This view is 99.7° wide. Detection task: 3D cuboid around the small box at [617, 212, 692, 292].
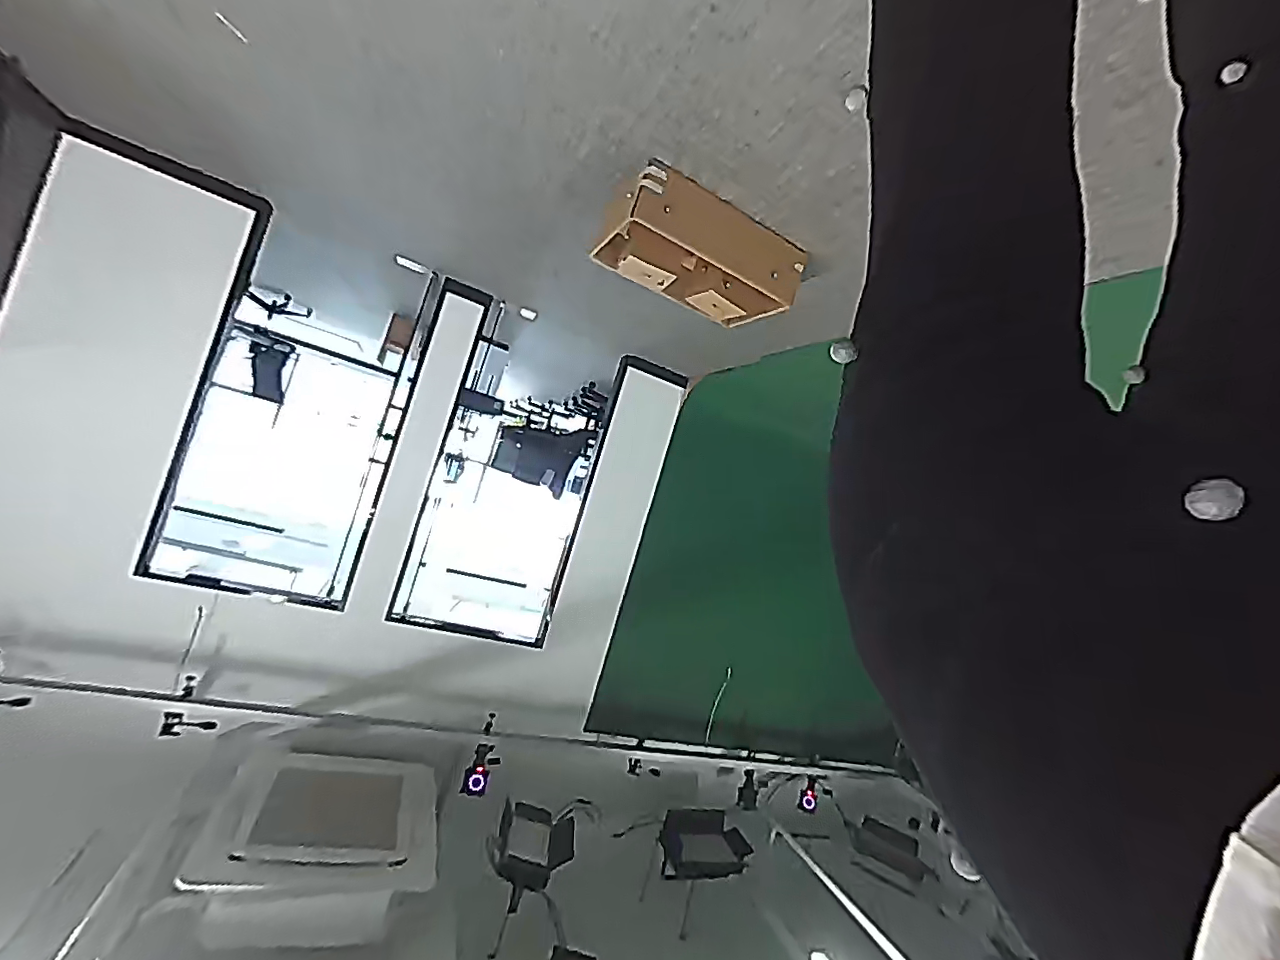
[{"bbox_3d":[0.048,-0.759,1.796,0.179,0.176,0.168,18,177,-19],"label":"small box"}]
